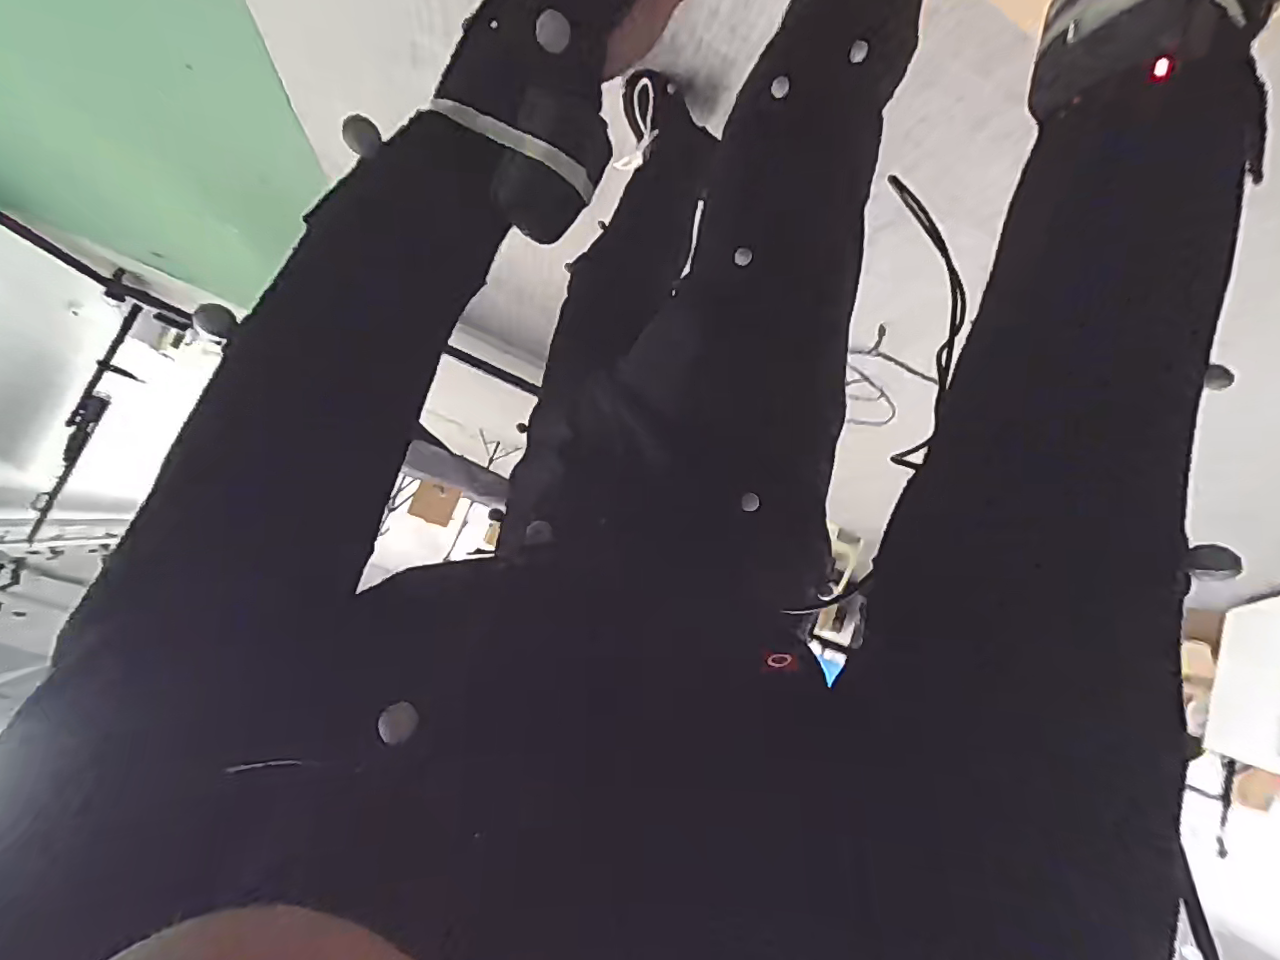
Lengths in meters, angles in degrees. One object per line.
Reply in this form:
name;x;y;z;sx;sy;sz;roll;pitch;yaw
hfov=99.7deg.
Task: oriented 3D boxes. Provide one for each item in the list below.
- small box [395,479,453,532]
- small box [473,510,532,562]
small box;-0.870;0.104;2.193;0.168;0.176;0.179;23;169;-16
small box;-0.584;0.232;2.287;0.179;0.176;0.168;25;169;-20
